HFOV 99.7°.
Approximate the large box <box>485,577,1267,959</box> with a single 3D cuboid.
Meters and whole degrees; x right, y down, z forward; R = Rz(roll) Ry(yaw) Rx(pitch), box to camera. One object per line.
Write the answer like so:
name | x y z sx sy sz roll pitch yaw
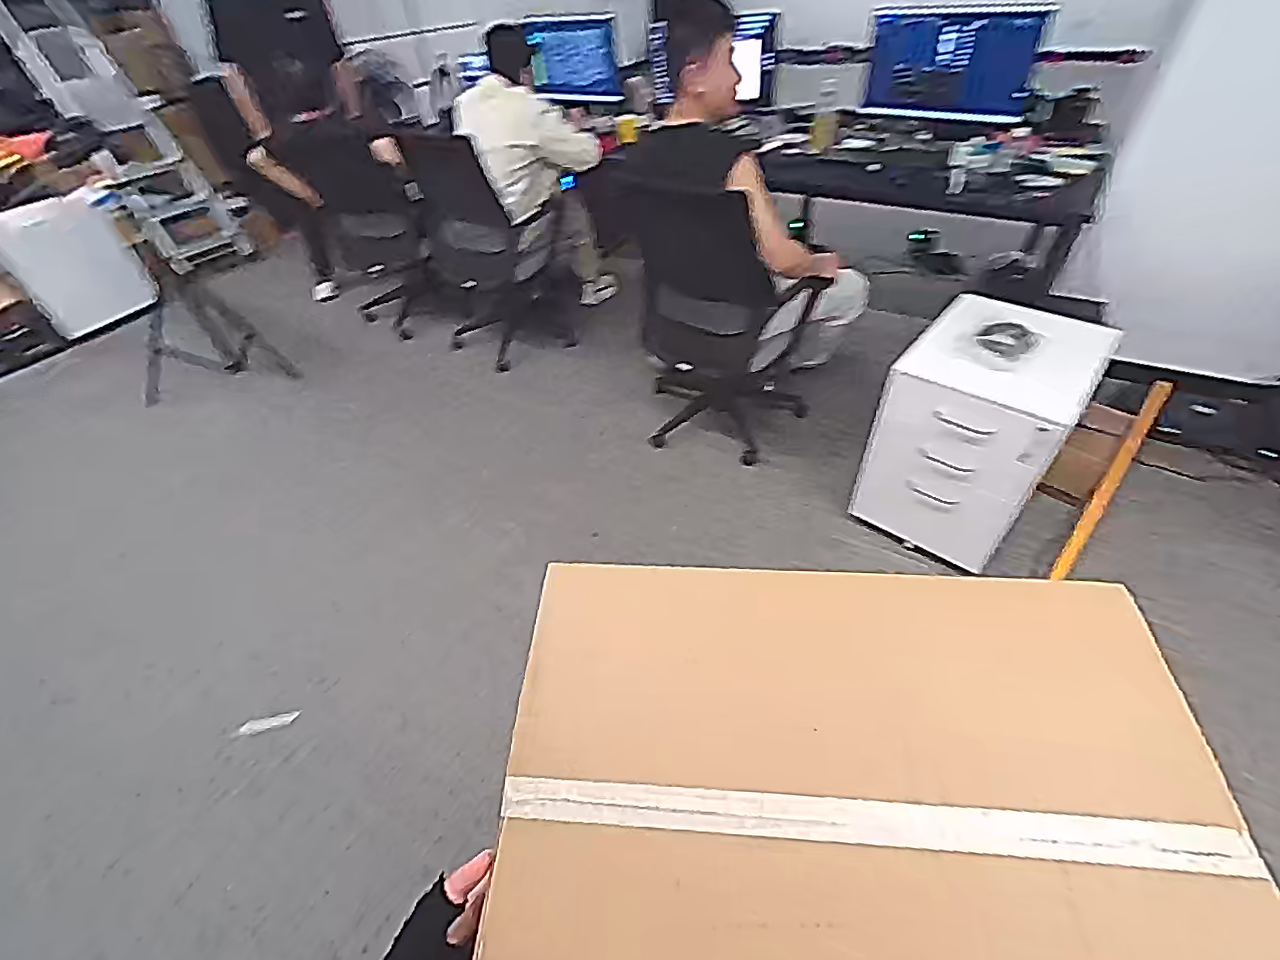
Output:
large box | 0.126 0.287 0.436 0.408 0.320 0.320 0 55 6
